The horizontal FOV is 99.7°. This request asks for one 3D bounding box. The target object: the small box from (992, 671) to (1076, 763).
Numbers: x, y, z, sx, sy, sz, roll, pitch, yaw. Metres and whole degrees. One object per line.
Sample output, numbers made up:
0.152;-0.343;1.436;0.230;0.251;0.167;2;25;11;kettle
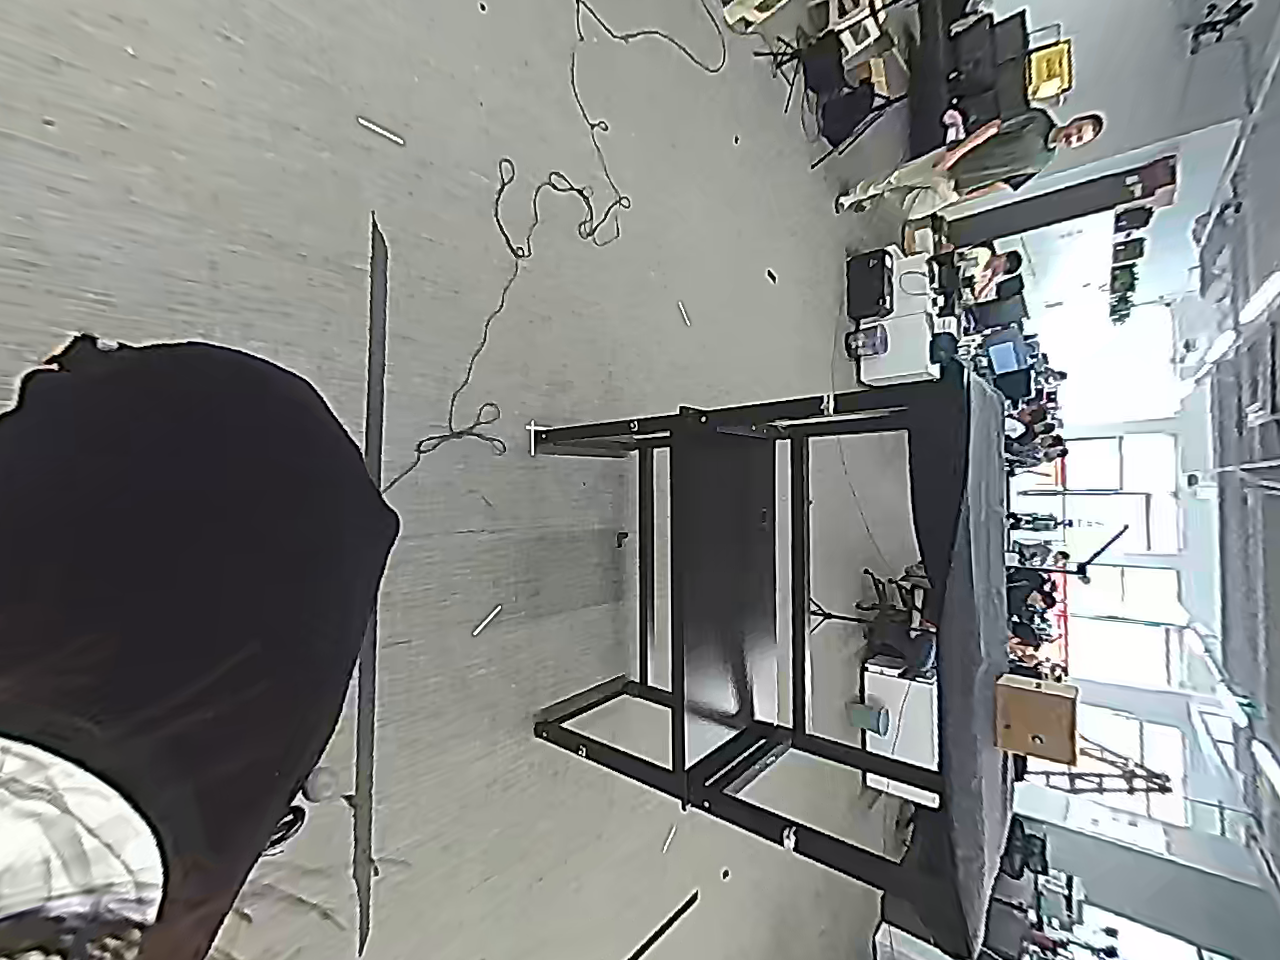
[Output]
1.040;0.615;1.428;0.179;0.176;0.168;9;83;-50;small box
